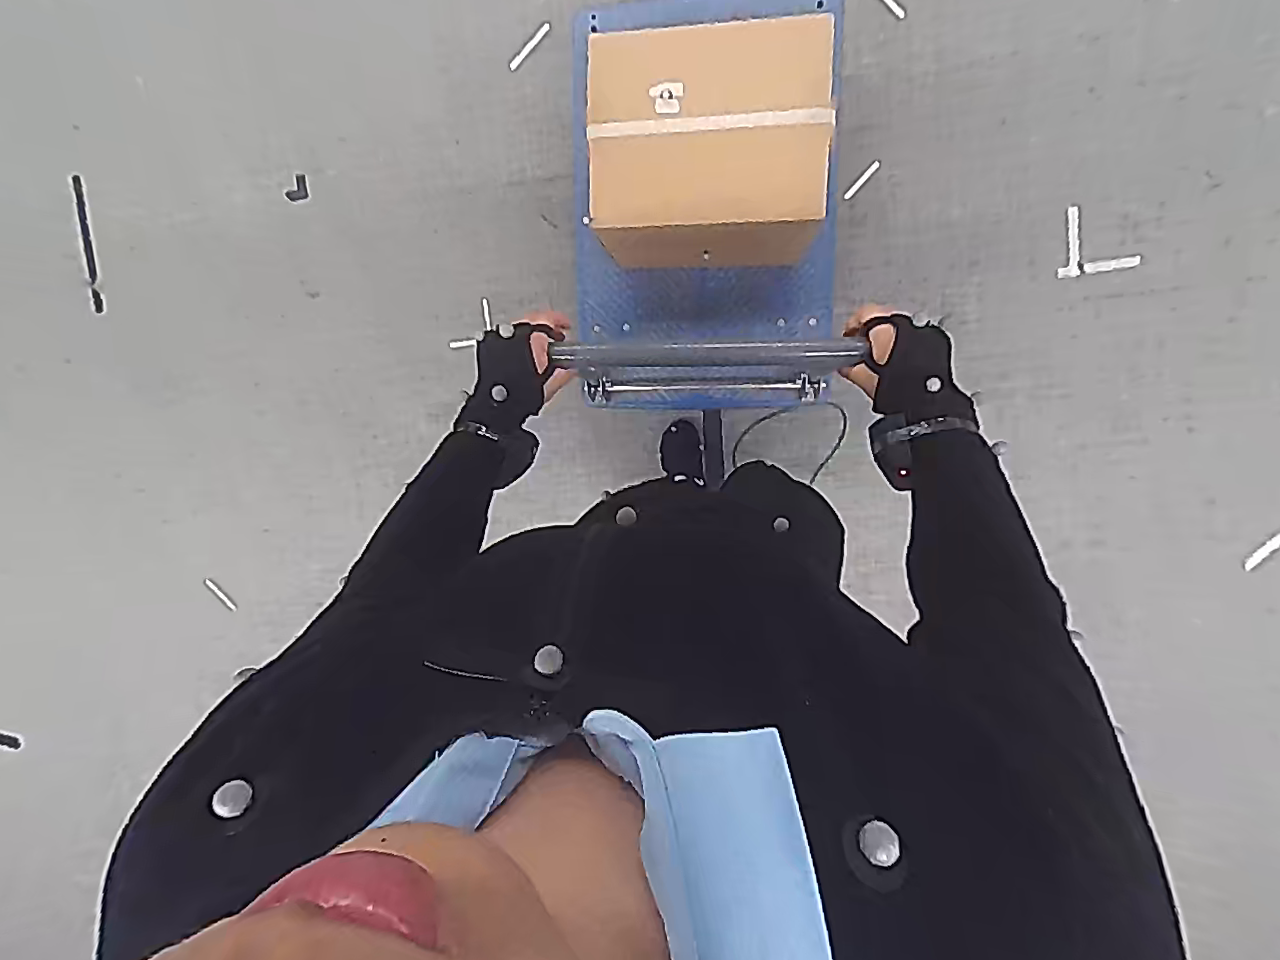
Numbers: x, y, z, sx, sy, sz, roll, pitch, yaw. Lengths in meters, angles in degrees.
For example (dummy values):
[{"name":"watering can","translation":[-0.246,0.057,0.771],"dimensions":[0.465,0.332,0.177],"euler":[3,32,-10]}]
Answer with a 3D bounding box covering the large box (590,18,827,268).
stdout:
[{"name":"large box","translation":[0.134,-0.620,1.070],"dimensions":[0.408,0.320,0.320],"euler":[1,97,9]}]
